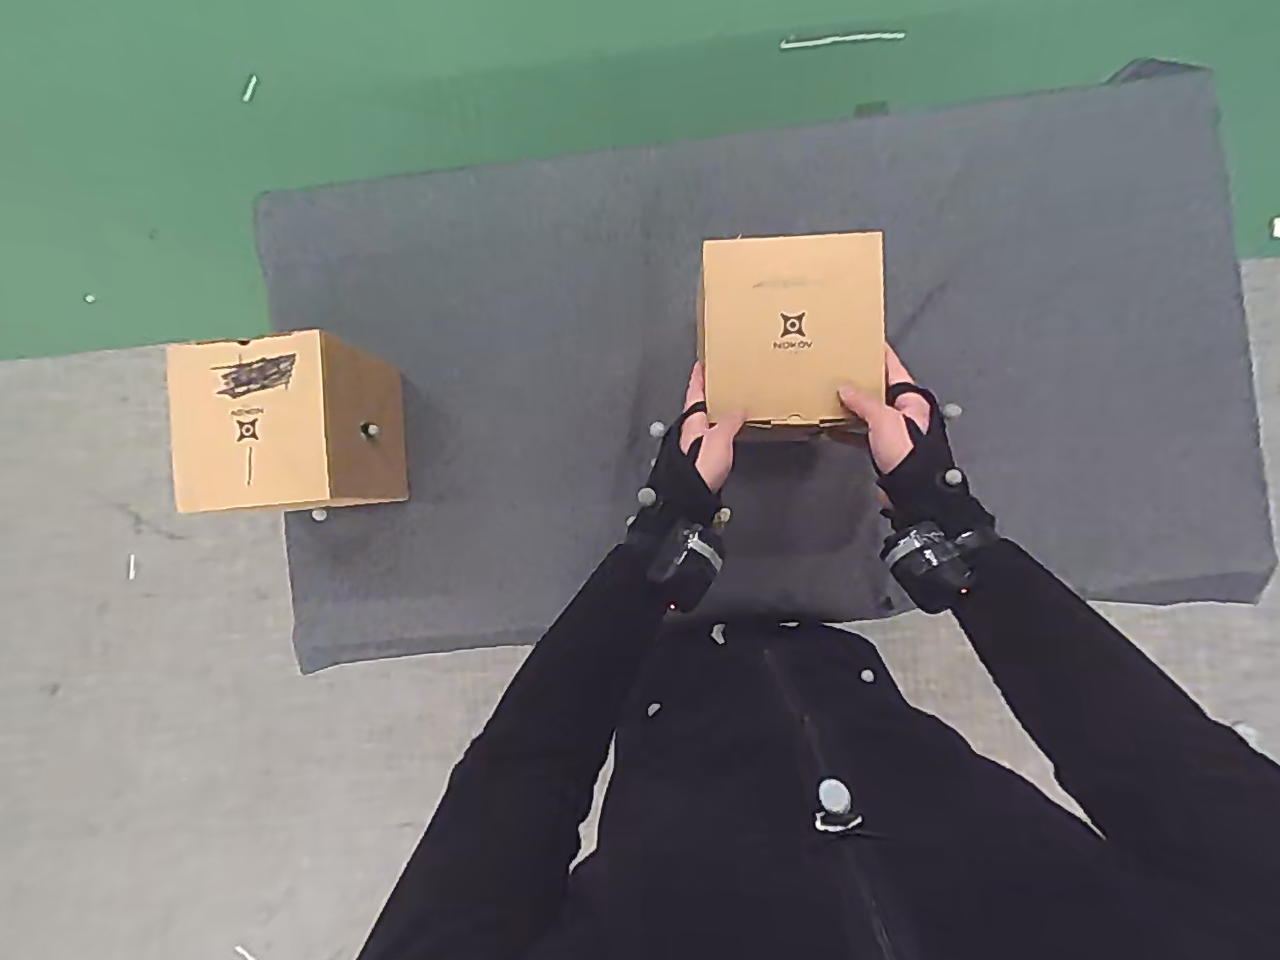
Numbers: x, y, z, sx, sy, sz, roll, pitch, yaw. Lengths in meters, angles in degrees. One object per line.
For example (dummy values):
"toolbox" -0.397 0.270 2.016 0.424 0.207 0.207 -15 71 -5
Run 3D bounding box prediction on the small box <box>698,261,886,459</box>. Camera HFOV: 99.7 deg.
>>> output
"small box" 0.151 -0.114 0.589 0.168 0.176 0.179 -2 87 3
